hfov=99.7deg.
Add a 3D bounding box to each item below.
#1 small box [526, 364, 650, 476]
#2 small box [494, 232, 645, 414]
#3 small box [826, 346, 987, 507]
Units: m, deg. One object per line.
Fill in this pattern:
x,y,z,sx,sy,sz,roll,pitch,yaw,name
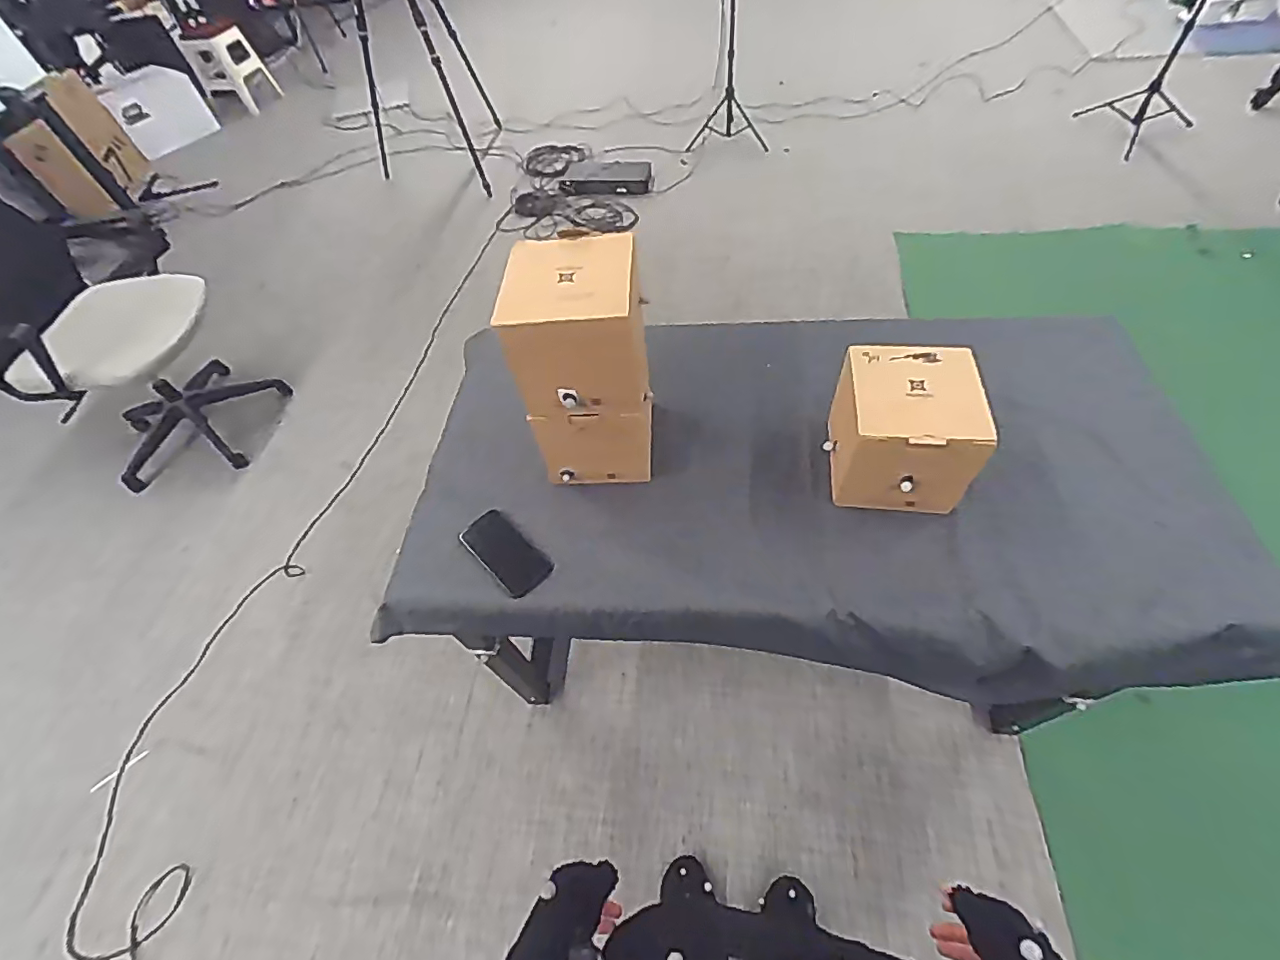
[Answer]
-0.072,-0.118,0.874,0.168,0.176,0.179,-1,54,5,small box
-0.083,-0.211,0.742,0.168,0.176,0.179,-2,56,5,small box
0.376,-0.075,0.798,0.168,0.176,0.179,4,56,9,small box
